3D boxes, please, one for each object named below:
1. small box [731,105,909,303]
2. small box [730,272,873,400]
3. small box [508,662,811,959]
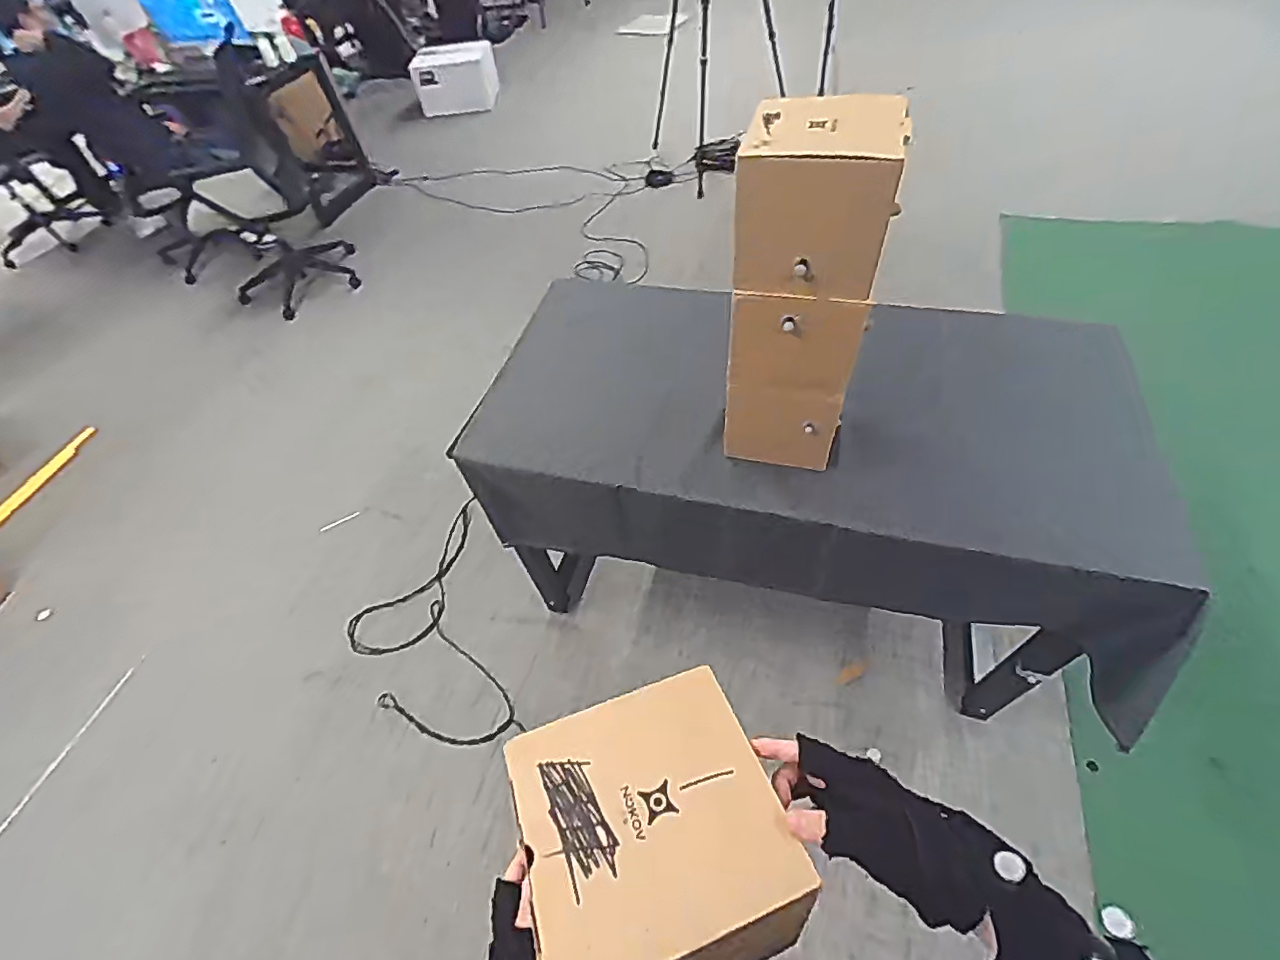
[{"bbox_3d":[0.219,-0.345,0.683,0.179,0.176,0.168,11,54,15],"label":"small box"},{"bbox_3d":[0.236,-0.239,0.807,0.179,0.176,0.168,9,53,14],"label":"small box"},{"bbox_3d":[0.009,0.283,0.428,0.179,0.176,0.168,-15,40,-12],"label":"small box"}]
